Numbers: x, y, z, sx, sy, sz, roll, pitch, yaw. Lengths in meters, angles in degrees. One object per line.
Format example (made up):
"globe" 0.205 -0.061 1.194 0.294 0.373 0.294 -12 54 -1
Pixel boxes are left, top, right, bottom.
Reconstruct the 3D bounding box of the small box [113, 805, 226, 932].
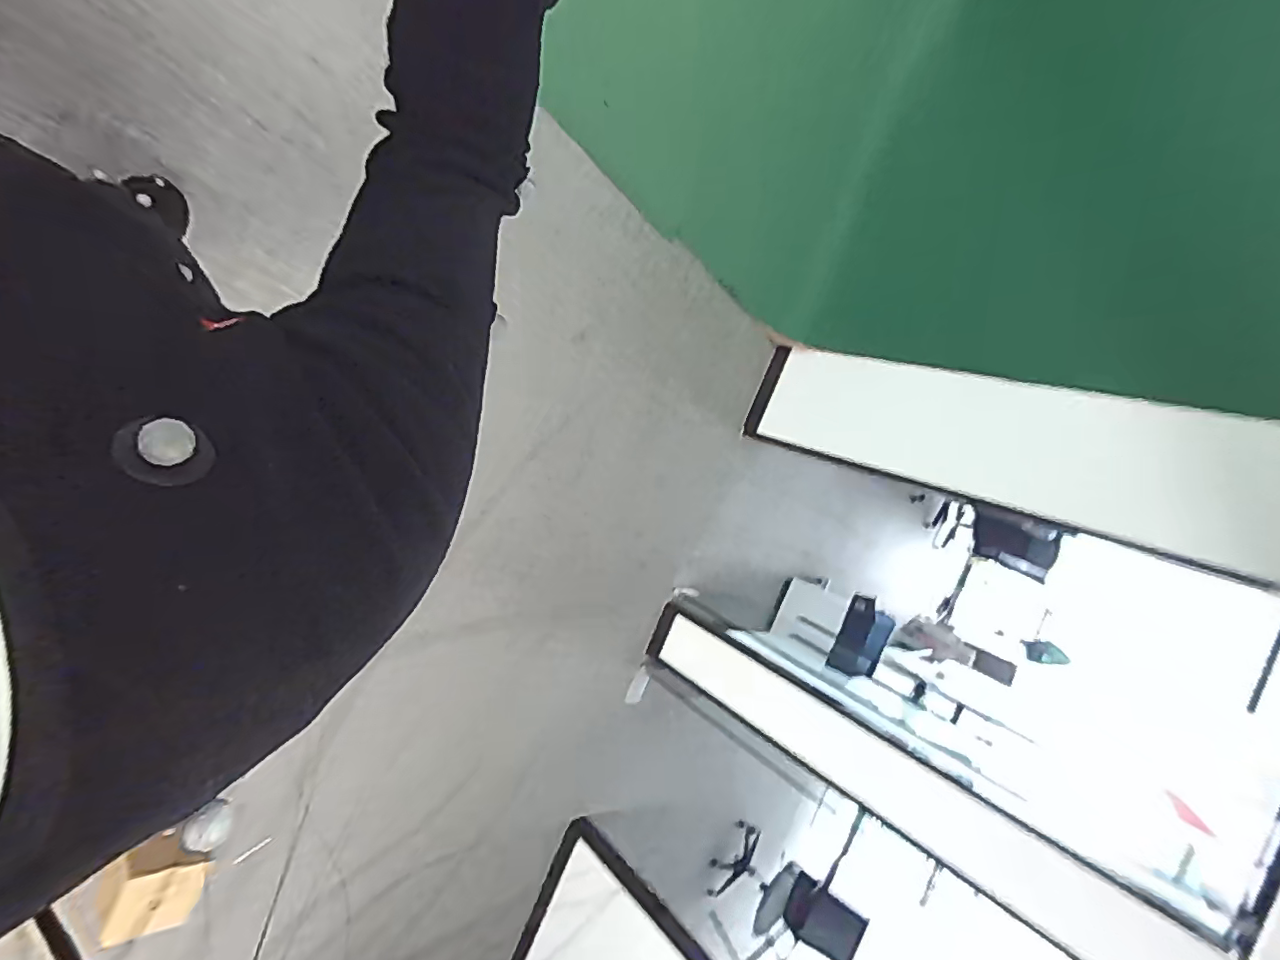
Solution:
"small box" -1.184 0.963 1.359 0.168 0.176 0.179 24 90 -50
